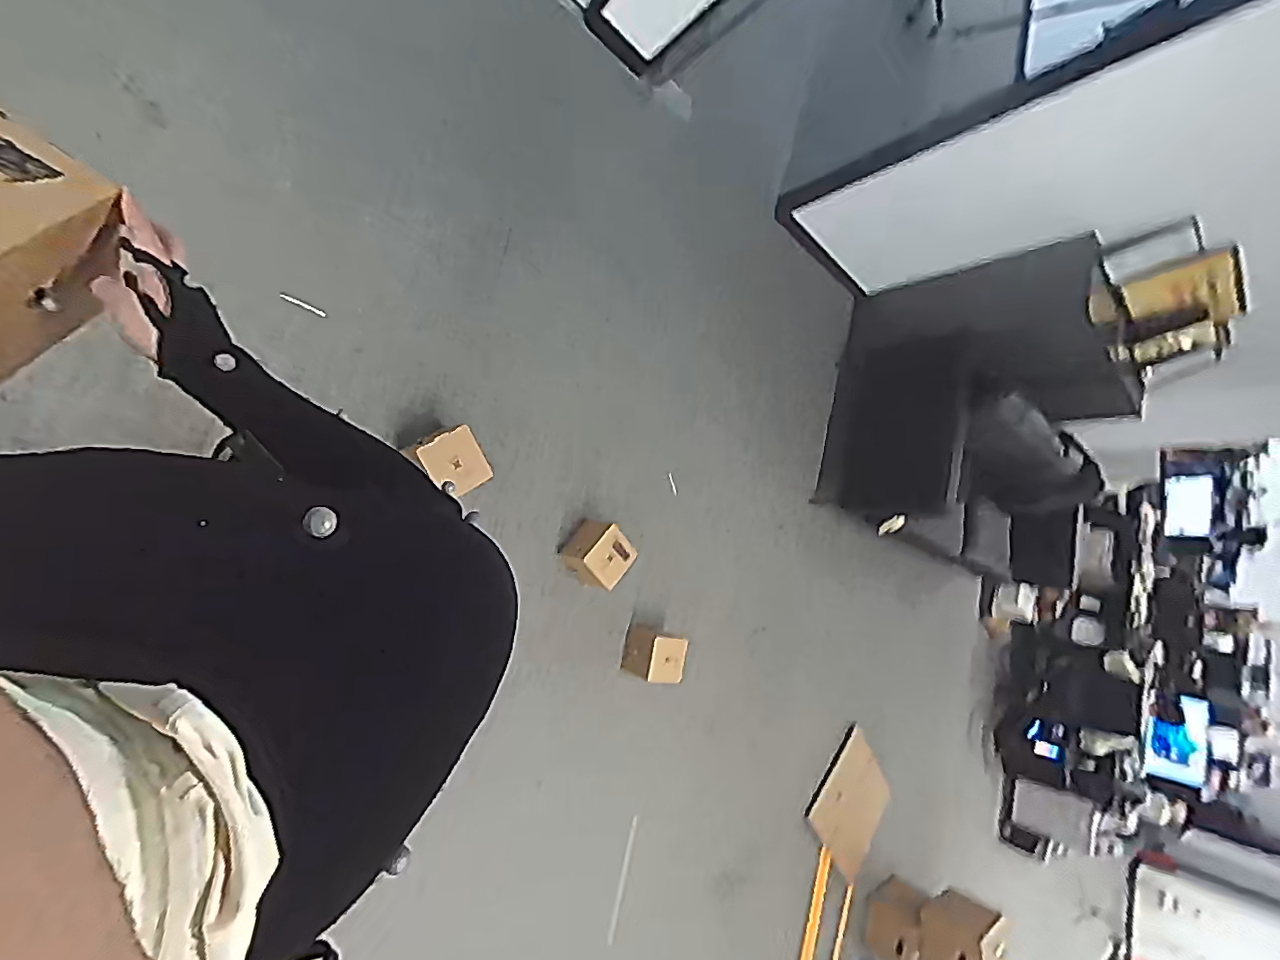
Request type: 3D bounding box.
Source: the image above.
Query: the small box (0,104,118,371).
[{"bbox_3d":[-0.579,-0.205,0.432,0.168,0.176,0.179,36,49,-26],"label":"small box"}]

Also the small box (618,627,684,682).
[{"bbox_3d":[0.039,0.676,2.098,0.179,0.176,0.168,19,79,-38],"label":"small box"}]
